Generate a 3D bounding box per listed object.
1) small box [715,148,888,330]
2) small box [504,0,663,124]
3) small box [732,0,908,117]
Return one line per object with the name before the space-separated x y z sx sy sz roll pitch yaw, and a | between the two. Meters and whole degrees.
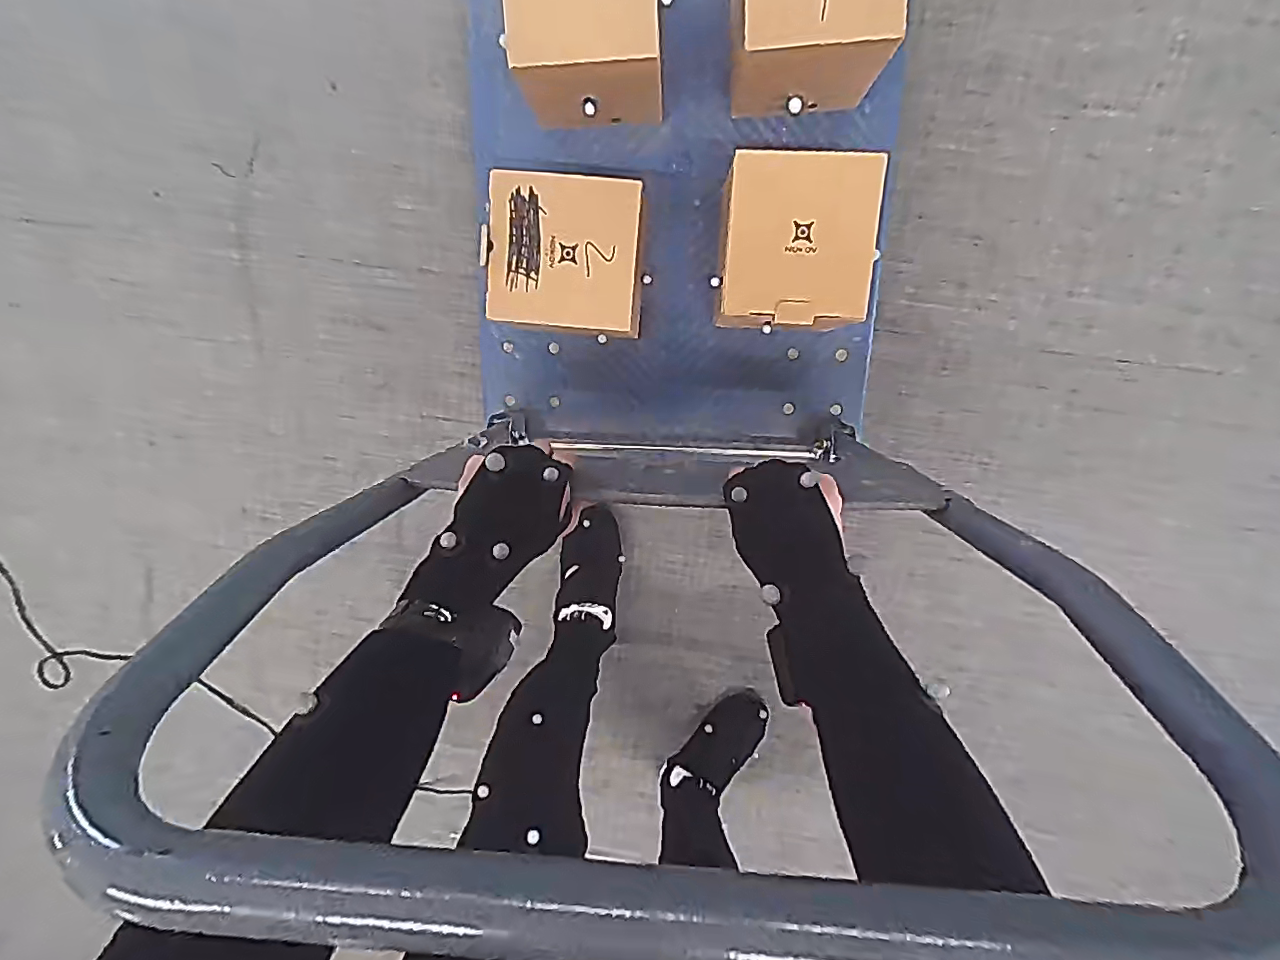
small box | 0.187 -0.288 0.679 0.168 0.176 0.179 4 103 3
small box | -0.058 -0.546 0.638 0.168 0.176 0.179 -1 102 3
small box | 0.195 -0.552 0.619 0.168 0.176 0.179 -1 103 5
